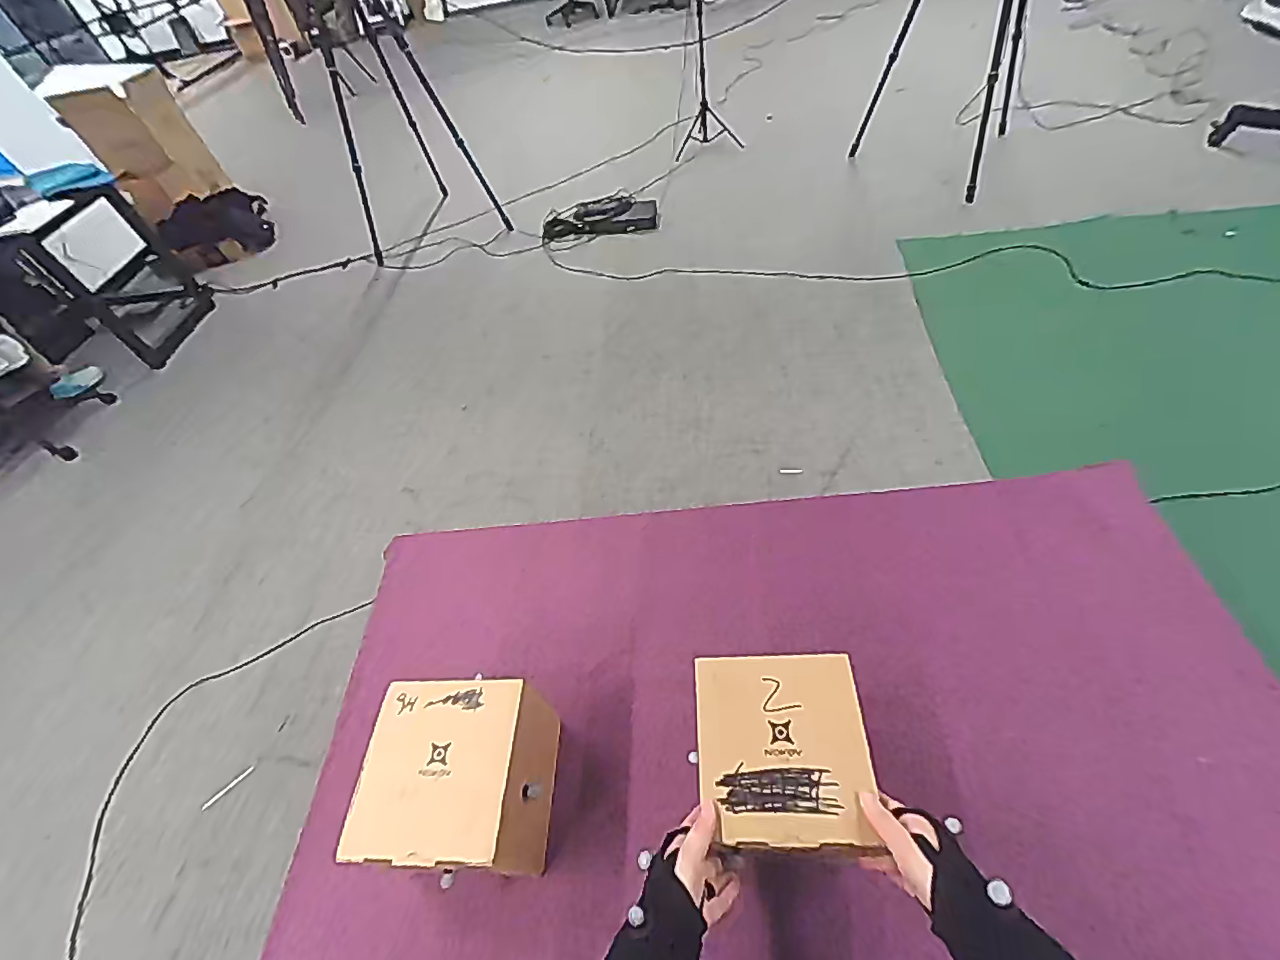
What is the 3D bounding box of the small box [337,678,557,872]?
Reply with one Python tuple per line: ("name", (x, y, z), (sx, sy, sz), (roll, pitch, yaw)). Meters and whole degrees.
("small box", (-0.204, 0.346, 0.632), (0.168, 0.176, 0.179), (-2, 52, 7))
